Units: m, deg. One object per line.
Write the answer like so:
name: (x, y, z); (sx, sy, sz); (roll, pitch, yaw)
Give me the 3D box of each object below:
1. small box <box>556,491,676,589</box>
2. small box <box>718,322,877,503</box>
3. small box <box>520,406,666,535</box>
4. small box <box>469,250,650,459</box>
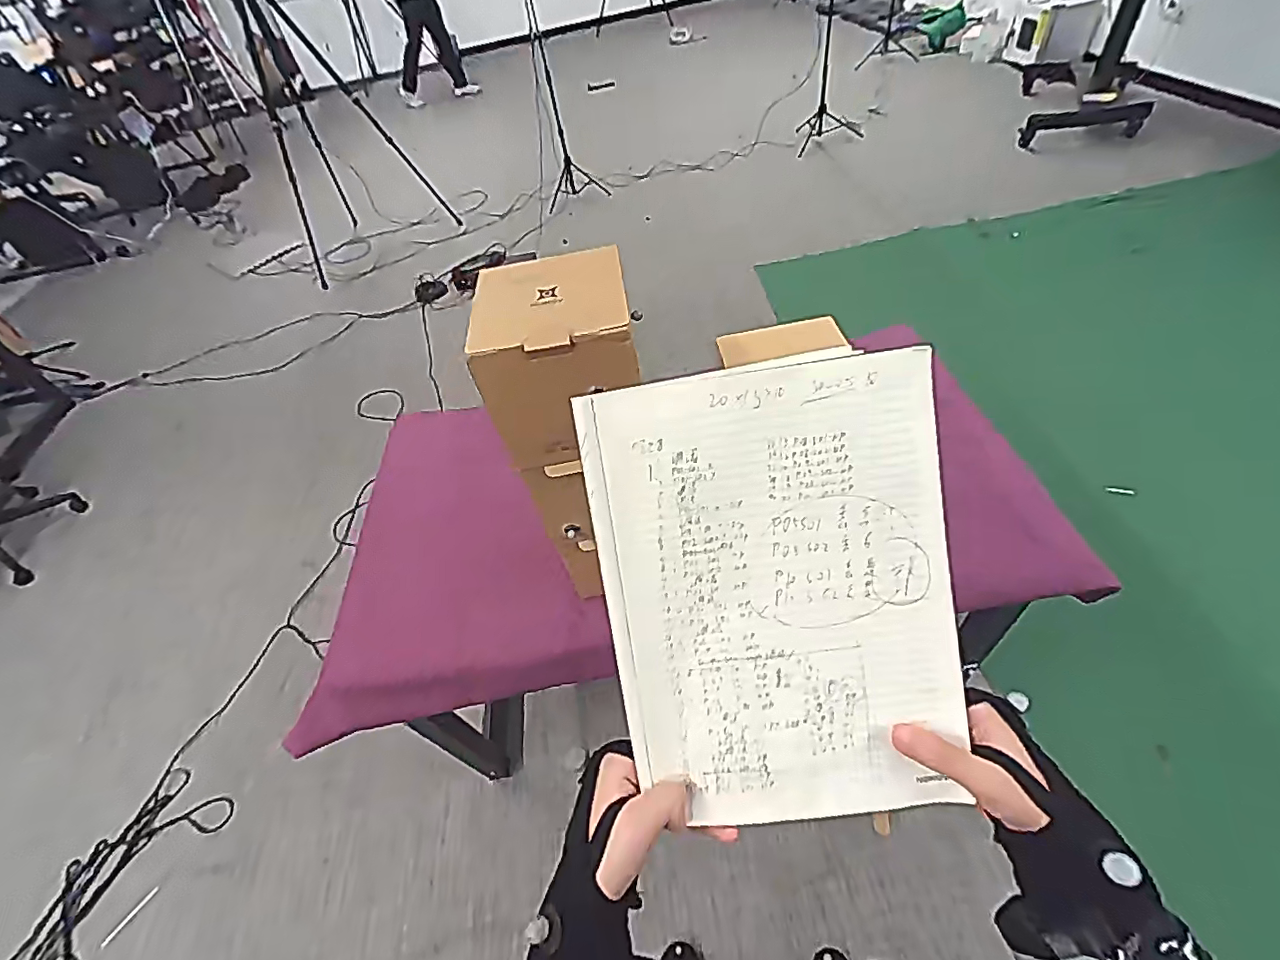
small box: (-0.038, 0.065, 0.891); (0.168, 0.176, 0.179); (-10, 49, 2)
small box: (0.206, -0.093, 0.761); (0.168, 0.176, 0.179); (-10, 48, 2)
small box: (-0.061, -0.038, 0.764); (0.168, 0.176, 0.179); (-10, 47, 2)
small box: (-0.084, -0.140, 0.639); (0.168, 0.176, 0.179); (-9, 48, 2)
